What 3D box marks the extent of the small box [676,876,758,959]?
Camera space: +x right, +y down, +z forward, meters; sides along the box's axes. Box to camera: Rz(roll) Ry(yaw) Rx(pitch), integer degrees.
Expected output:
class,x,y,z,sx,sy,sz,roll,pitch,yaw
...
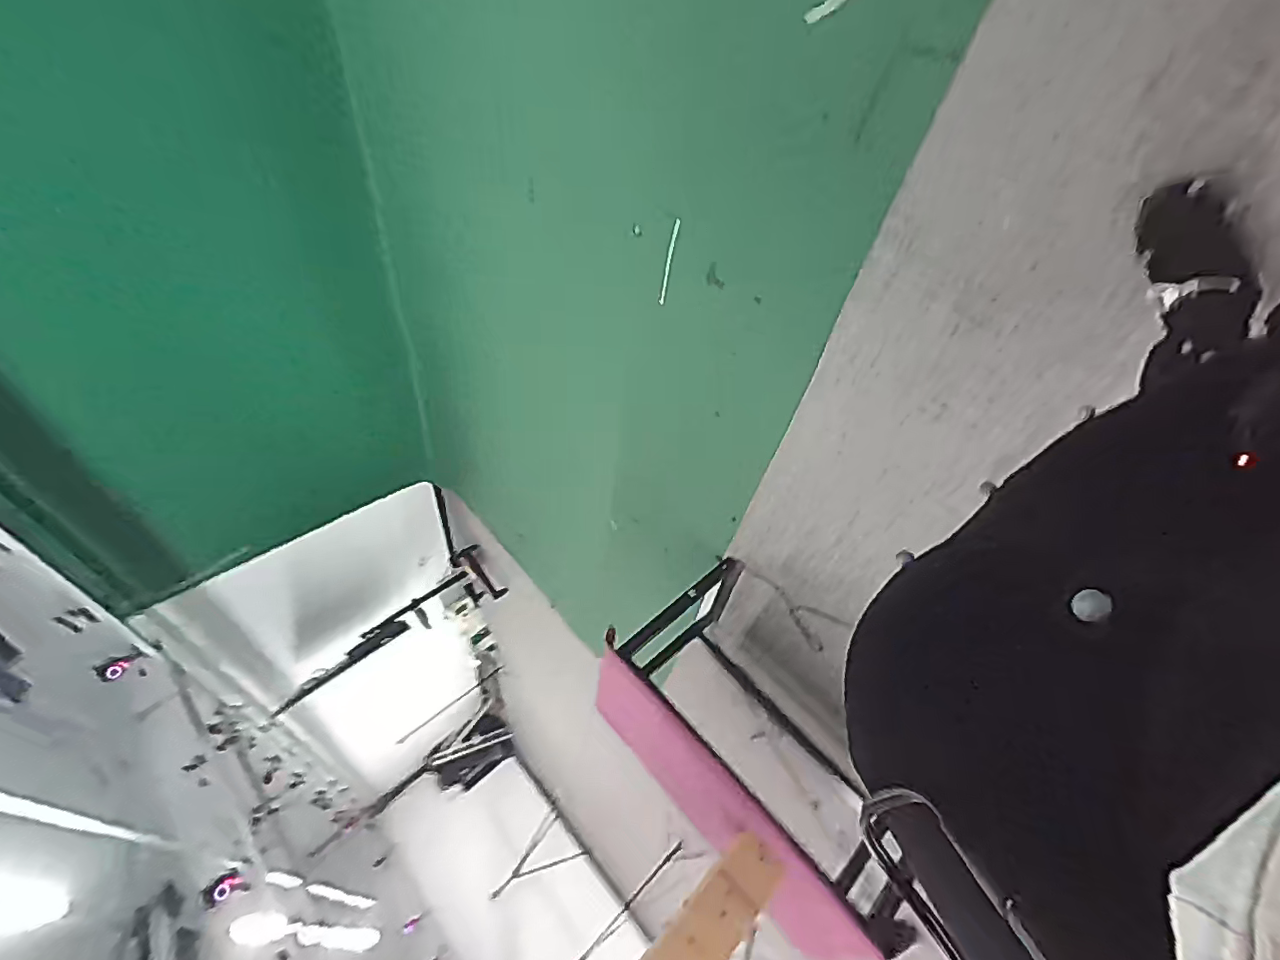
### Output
class,x,y,z,sx,sy,sz,roll,pitch,yaw
small box,0.241,1.379,1.686,0.168,0.176,0.179,44,145,24

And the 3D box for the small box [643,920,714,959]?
class,x,y,z,sx,sy,sz,roll,pitch,yaw
small box,0.119,1.455,1.606,0.168,0.176,0.179,42,144,25
